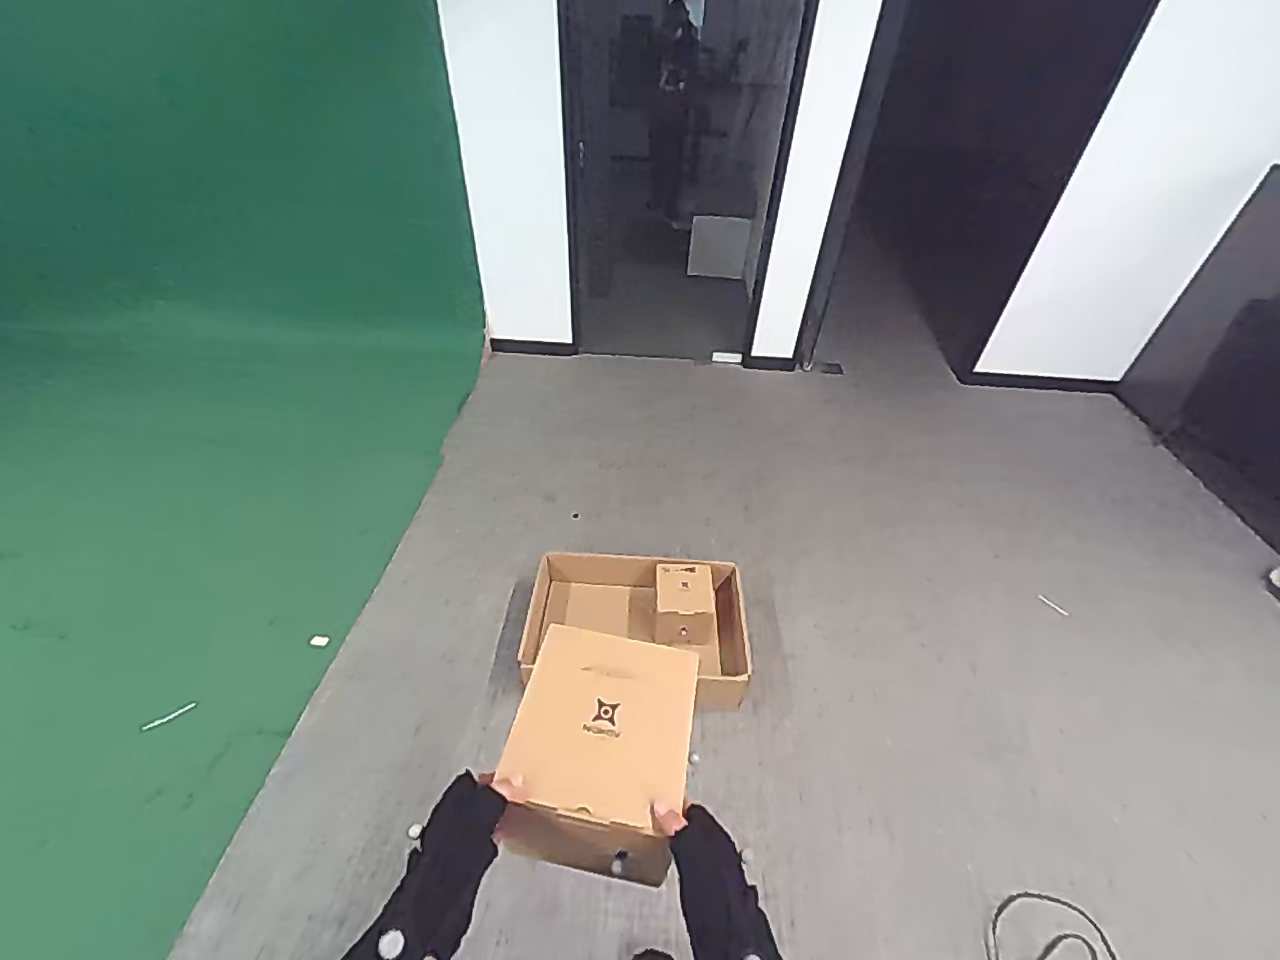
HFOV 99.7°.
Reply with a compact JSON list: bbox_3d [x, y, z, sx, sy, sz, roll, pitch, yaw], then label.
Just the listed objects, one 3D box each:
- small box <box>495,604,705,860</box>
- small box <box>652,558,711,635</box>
[{"bbox_3d":[-0.032,0.261,0.559,0.168,0.176,0.179,10,42,5],"label":"small box"},{"bbox_3d":[0.120,0.355,1.632,0.168,0.176,0.179,0,42,-2],"label":"small box"}]
